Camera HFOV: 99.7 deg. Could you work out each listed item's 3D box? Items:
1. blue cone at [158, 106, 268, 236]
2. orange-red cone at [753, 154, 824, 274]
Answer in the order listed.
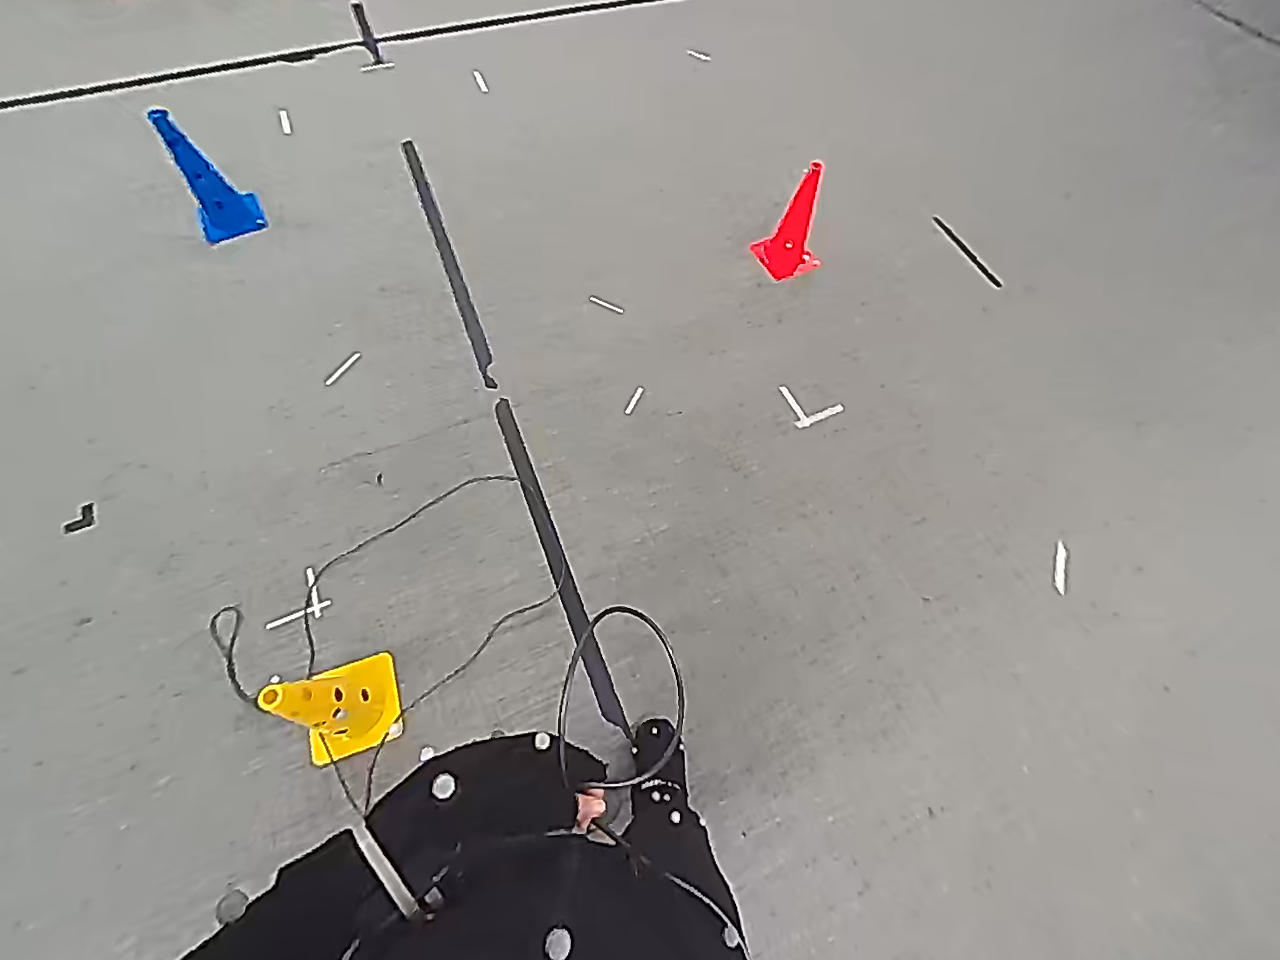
[{"bbox_3d":[-1.416,-1.007,1.754,0.192,0.380,0.193,-25,68,-14],"label":"blue cone"},{"bbox_3d":[0.538,-0.911,1.814,0.198,0.360,0.199,-24,67,-14],"label":"orange-red cone"}]
